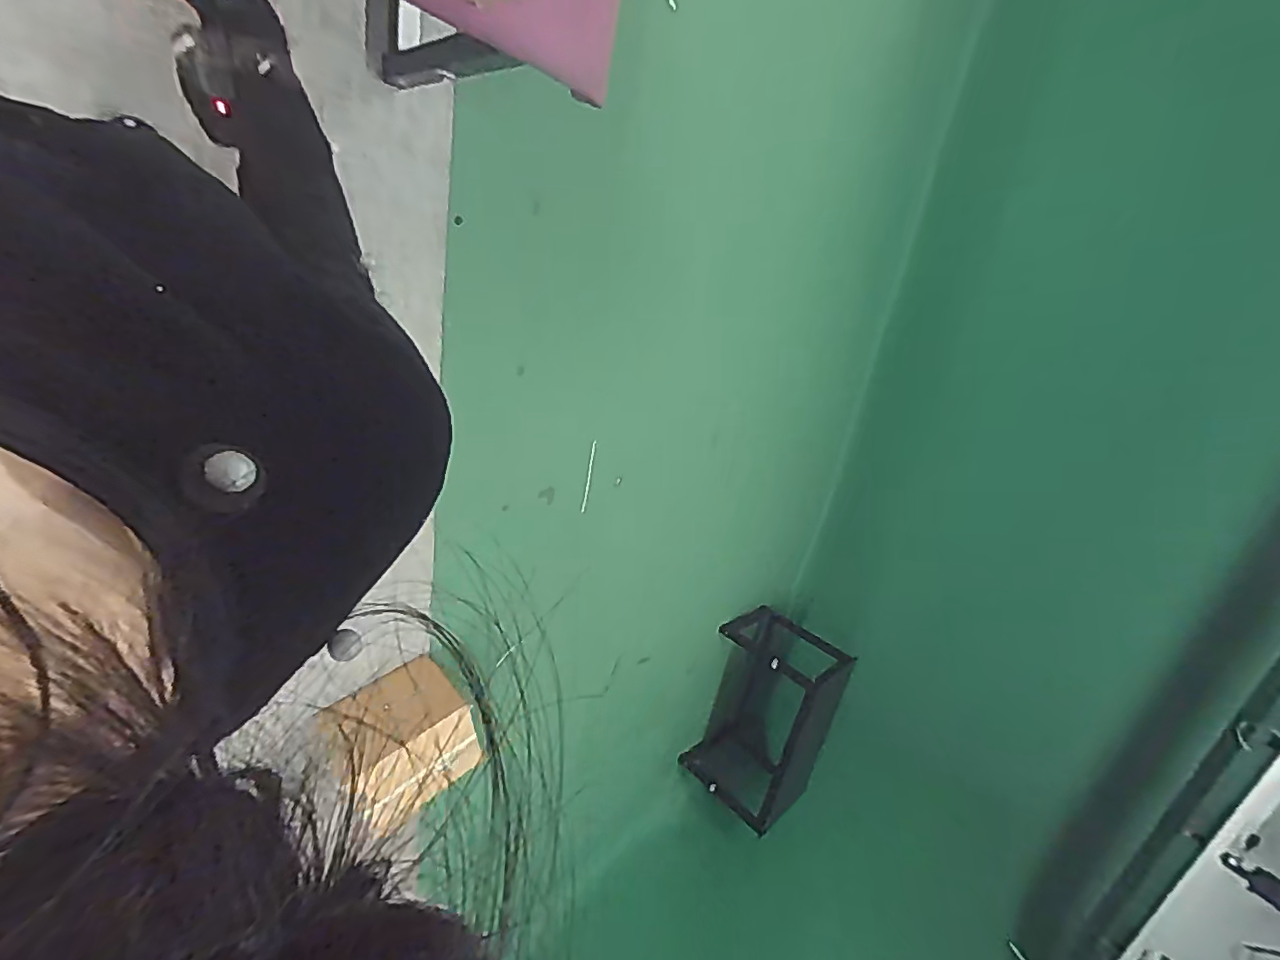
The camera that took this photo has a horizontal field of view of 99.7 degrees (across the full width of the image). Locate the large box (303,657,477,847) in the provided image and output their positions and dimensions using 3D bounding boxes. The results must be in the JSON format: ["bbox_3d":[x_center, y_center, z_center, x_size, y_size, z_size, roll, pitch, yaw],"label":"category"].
[{"bbox_3d":[-0.820,0.884,1.805,0.408,0.320,0.320,-27,130,-38],"label":"large box"}]
